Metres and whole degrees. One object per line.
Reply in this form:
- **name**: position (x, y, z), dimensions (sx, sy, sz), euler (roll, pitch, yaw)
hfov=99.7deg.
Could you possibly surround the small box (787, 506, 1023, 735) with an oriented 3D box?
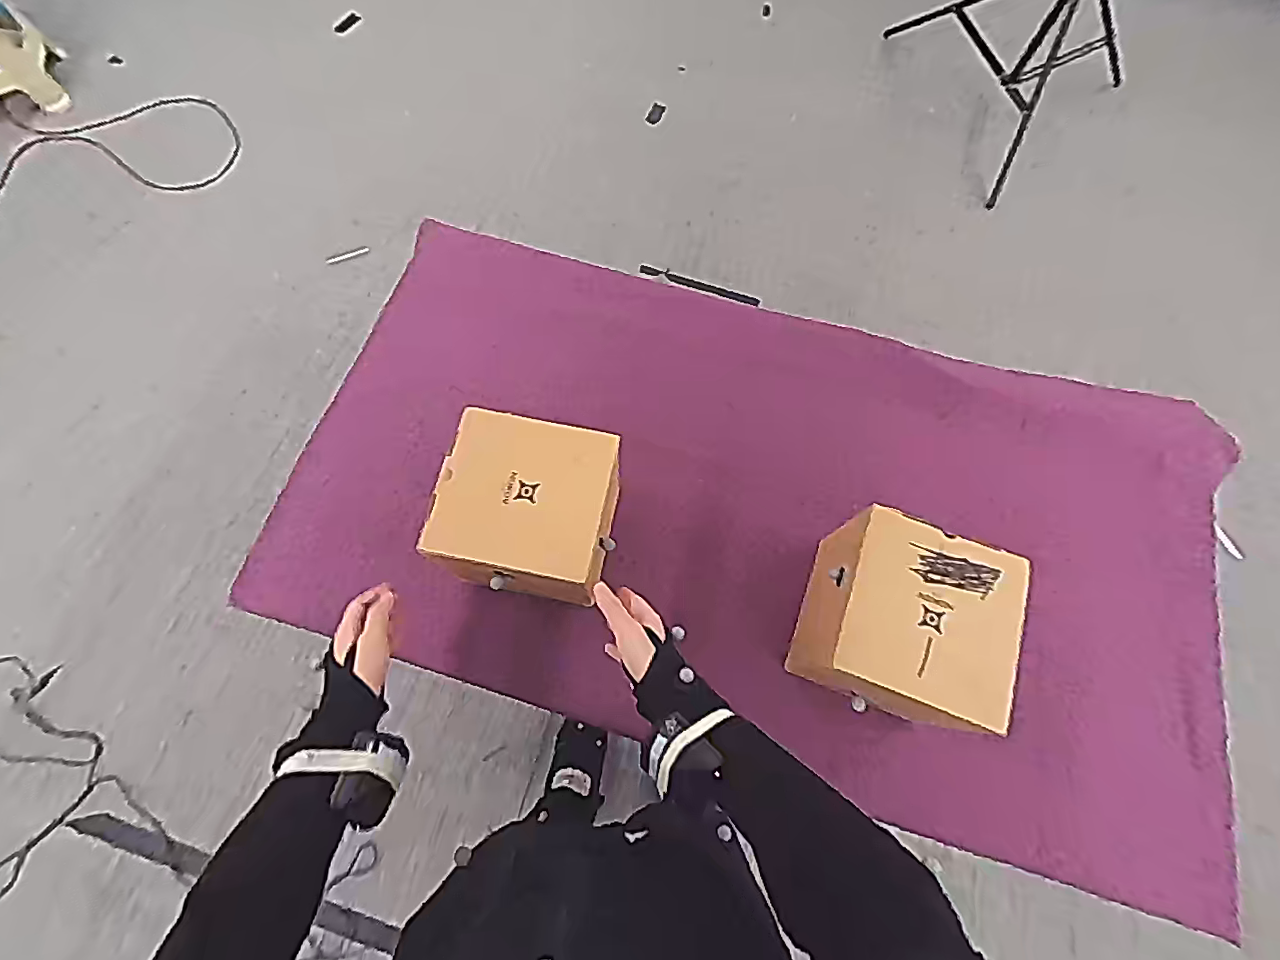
- **small box**: position (0.281, 0.157, 0.606), dimensions (0.168, 0.176, 0.179), euler (21, 71, 6)

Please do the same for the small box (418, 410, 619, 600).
- **small box**: position (-0.125, 0.040, 0.640), dimensions (0.179, 0.176, 0.168), euler (11, 70, 3)
